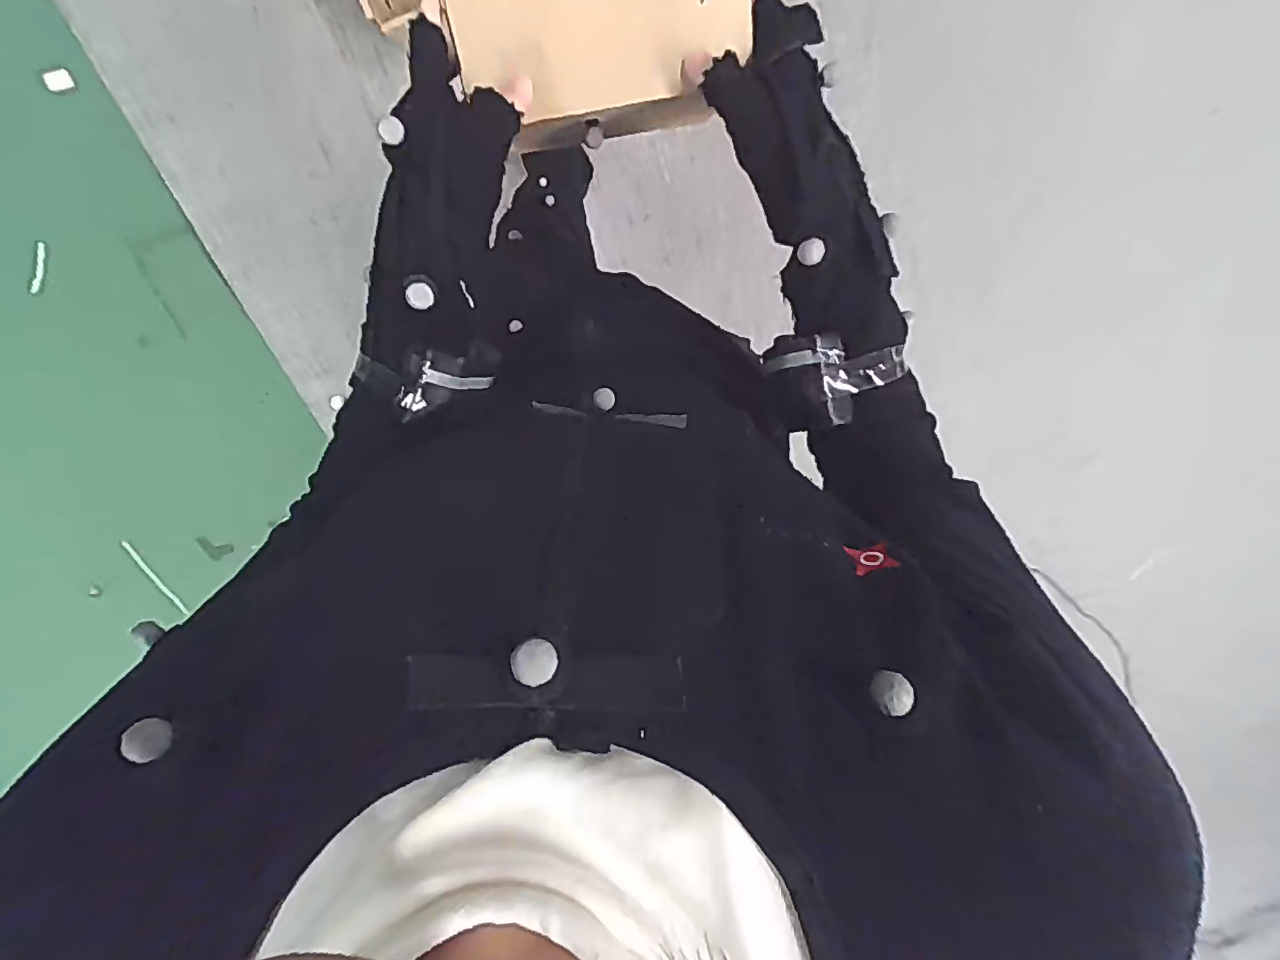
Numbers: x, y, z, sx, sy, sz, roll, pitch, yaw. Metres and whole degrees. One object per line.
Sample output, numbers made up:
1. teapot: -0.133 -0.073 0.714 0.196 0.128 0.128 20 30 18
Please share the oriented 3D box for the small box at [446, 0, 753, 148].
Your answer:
1. small box: -0.033 -0.345 0.369 0.179 0.176 0.168 -11 115 3
